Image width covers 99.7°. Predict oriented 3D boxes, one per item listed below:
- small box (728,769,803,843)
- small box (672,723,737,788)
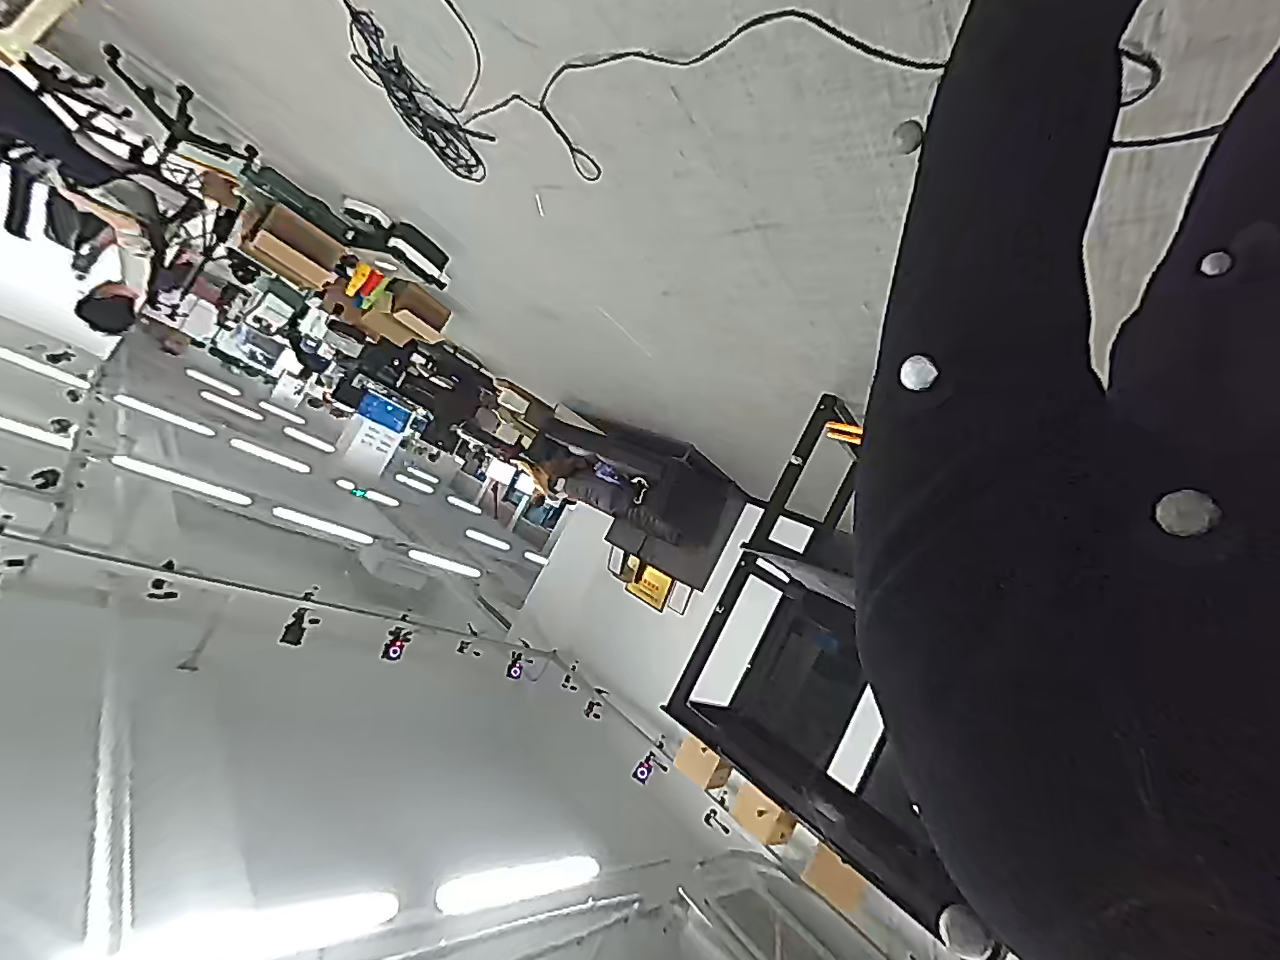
[{"bbox_3d":[0.455,1.167,1.948,0.179,0.176,0.168,31,174,-41],"label":"small box"},{"bbox_3d":[0.263,1.090,2.156,0.168,0.176,0.179,23,172,39],"label":"small box"}]
